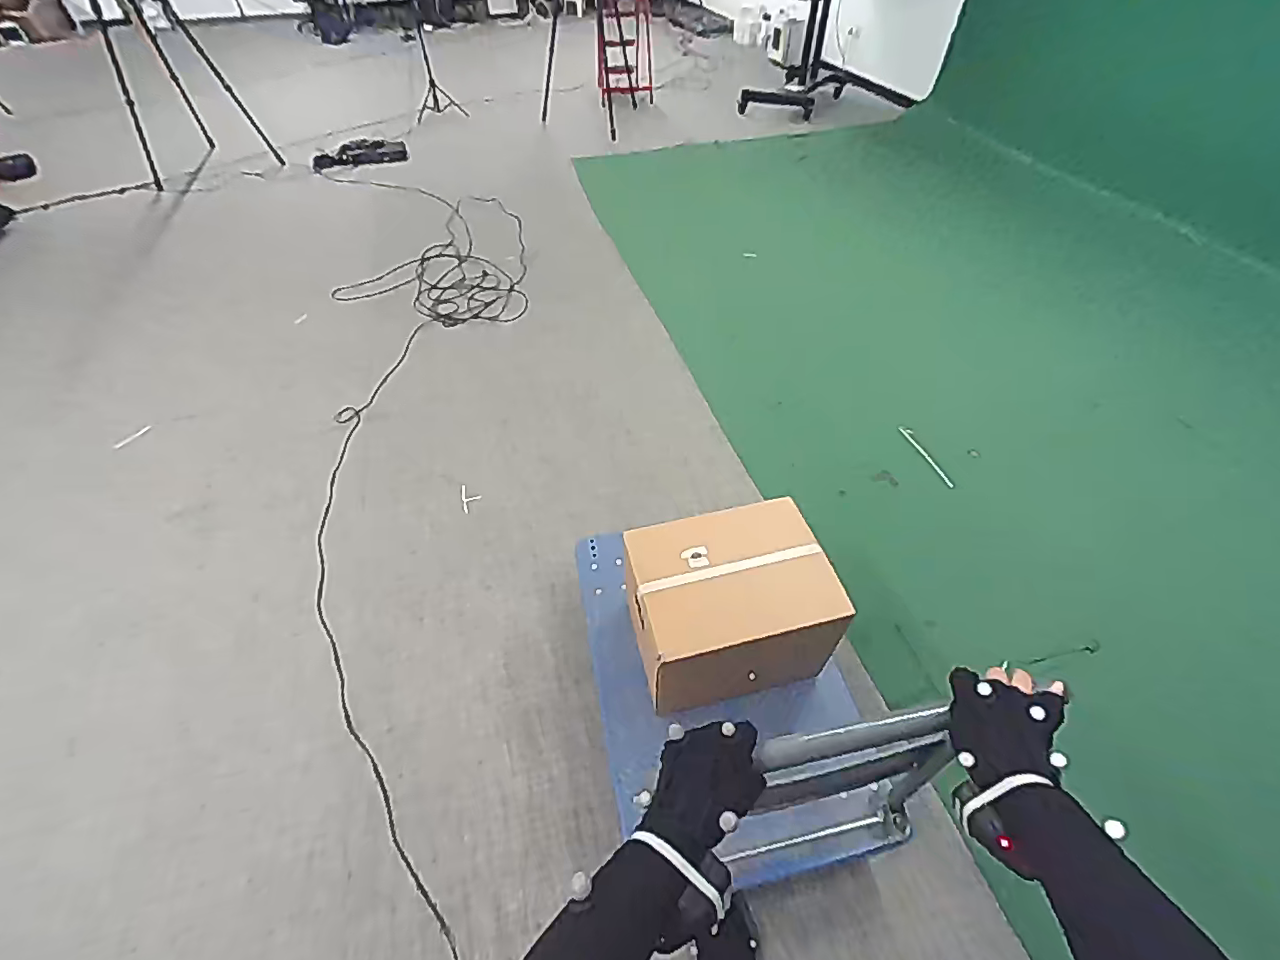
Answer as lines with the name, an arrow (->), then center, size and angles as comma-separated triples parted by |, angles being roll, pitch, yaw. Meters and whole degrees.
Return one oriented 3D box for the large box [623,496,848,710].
large box -> 0.196, 0.288, 1.260 | 0.408, 0.320, 0.320 | -13, 50, -8
